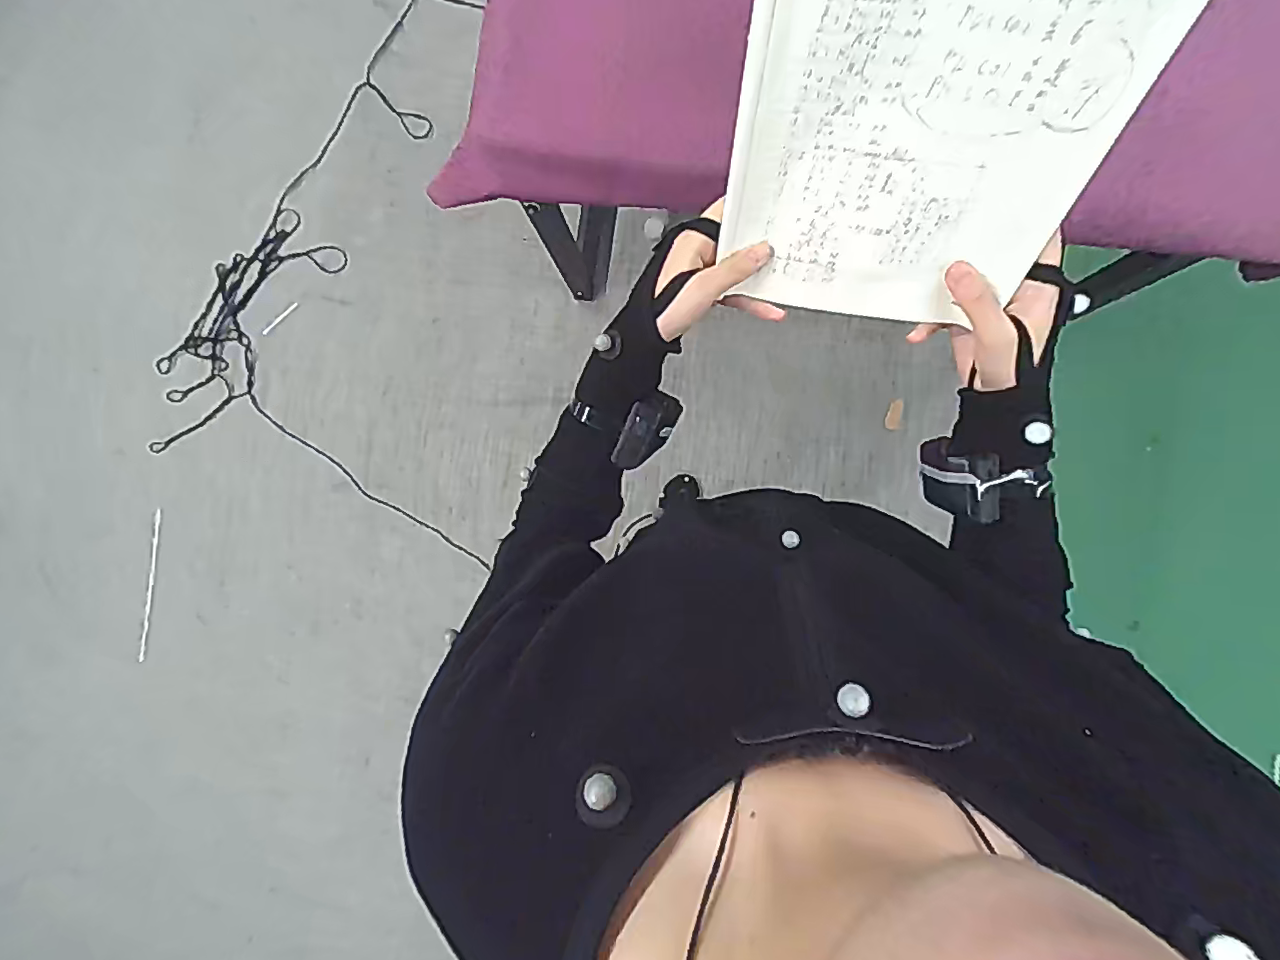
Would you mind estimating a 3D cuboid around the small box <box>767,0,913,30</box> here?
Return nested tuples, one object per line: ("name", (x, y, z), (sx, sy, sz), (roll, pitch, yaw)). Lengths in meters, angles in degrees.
("small box", (0.232, -0.620, 0.561), (0.168, 0.176, 0.179), (9, 87, 5))

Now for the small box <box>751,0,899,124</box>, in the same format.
("small box", (0.247, -0.619, 0.726), (0.168, 0.176, 0.179), (9, 89, 5))
